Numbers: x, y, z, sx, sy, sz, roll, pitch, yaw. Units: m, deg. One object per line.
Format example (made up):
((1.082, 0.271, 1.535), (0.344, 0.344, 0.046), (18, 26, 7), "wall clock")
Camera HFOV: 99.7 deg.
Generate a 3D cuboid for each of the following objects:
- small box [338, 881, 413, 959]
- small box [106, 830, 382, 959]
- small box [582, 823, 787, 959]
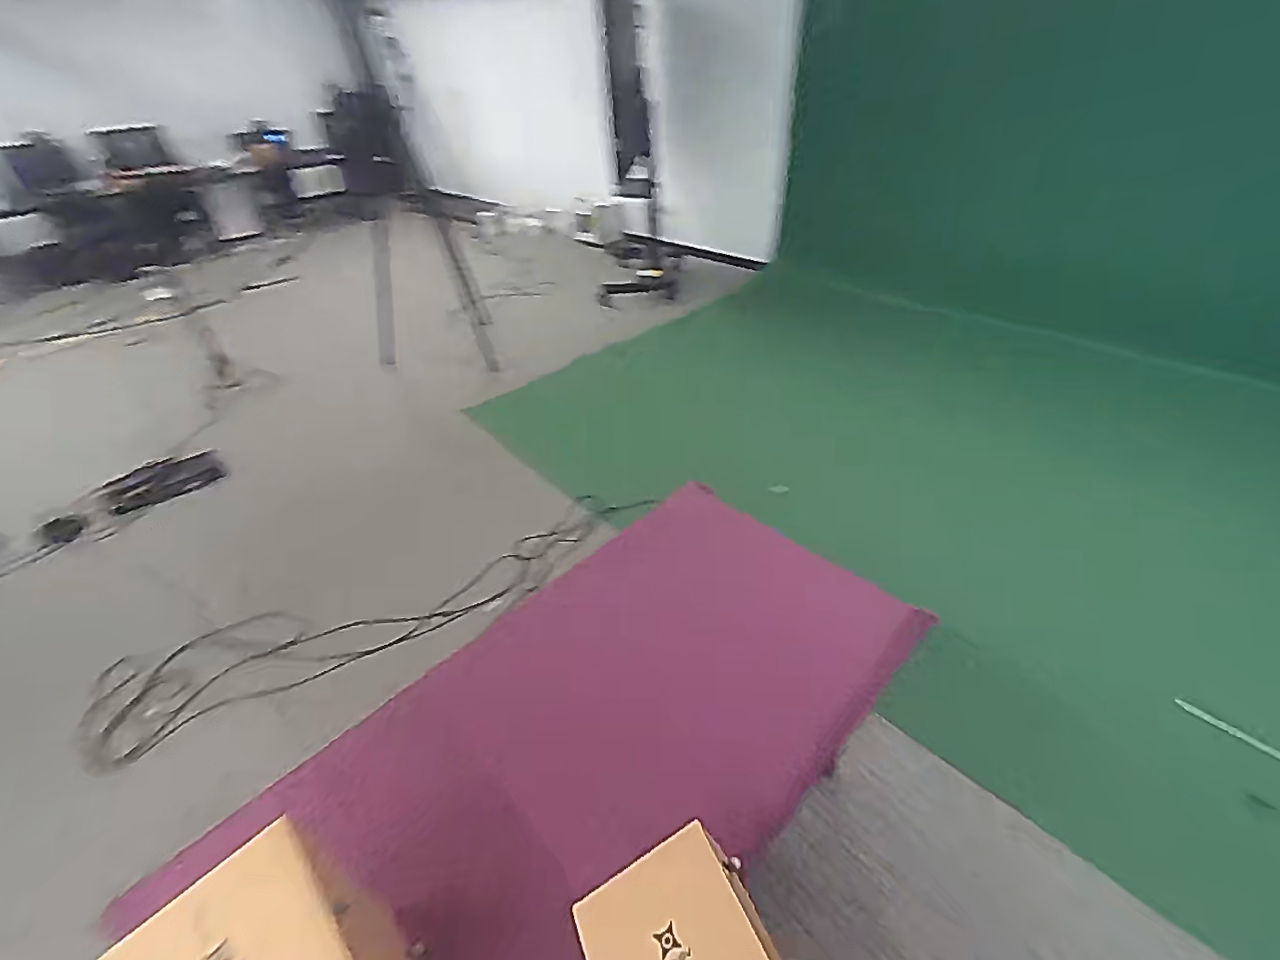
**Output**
((-0.346, 0.613, 0.603), (0.179, 0.176, 0.168), (28, 49, 35), "small box")
((-0.355, 0.484, 0.501), (0.179, 0.176, 0.168), (28, 48, 35), "small box")
((0.064, 0.522, 0.576), (0.168, 0.176, 0.179), (-30, 37, -7), "small box")
